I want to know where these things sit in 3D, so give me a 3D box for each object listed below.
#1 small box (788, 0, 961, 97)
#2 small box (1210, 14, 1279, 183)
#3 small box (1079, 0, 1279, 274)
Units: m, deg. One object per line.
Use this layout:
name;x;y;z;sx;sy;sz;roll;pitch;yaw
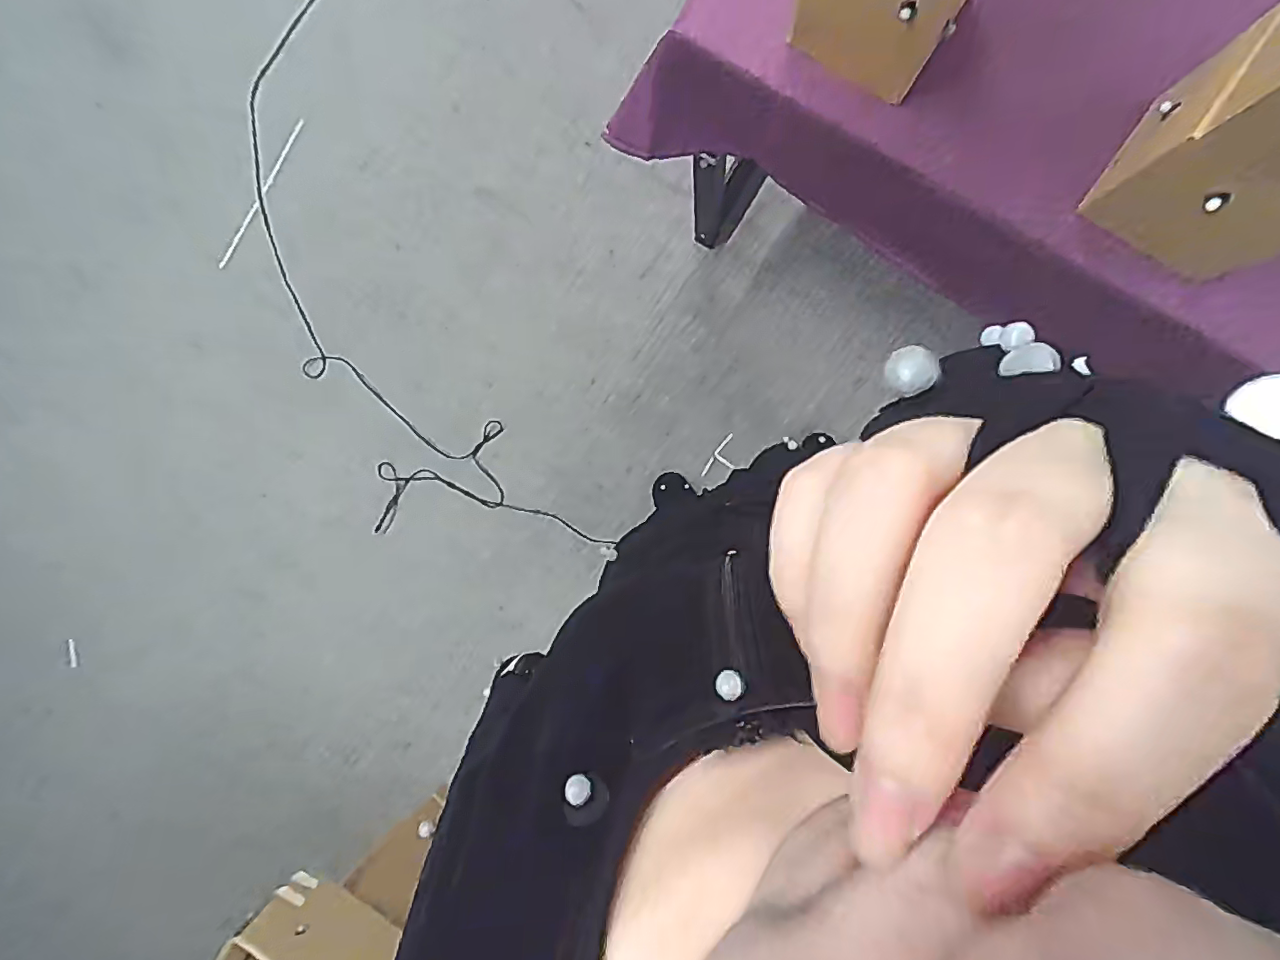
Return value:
small box;0.298;-0.606;0.634;0.179;0.176;0.168;32;95;2
small box;0.653;-0.361;0.446;0.168;0.176;0.179;32;94;3
small box;0.665;-0.363;0.609;0.179;0.176;0.168;34;96;3
